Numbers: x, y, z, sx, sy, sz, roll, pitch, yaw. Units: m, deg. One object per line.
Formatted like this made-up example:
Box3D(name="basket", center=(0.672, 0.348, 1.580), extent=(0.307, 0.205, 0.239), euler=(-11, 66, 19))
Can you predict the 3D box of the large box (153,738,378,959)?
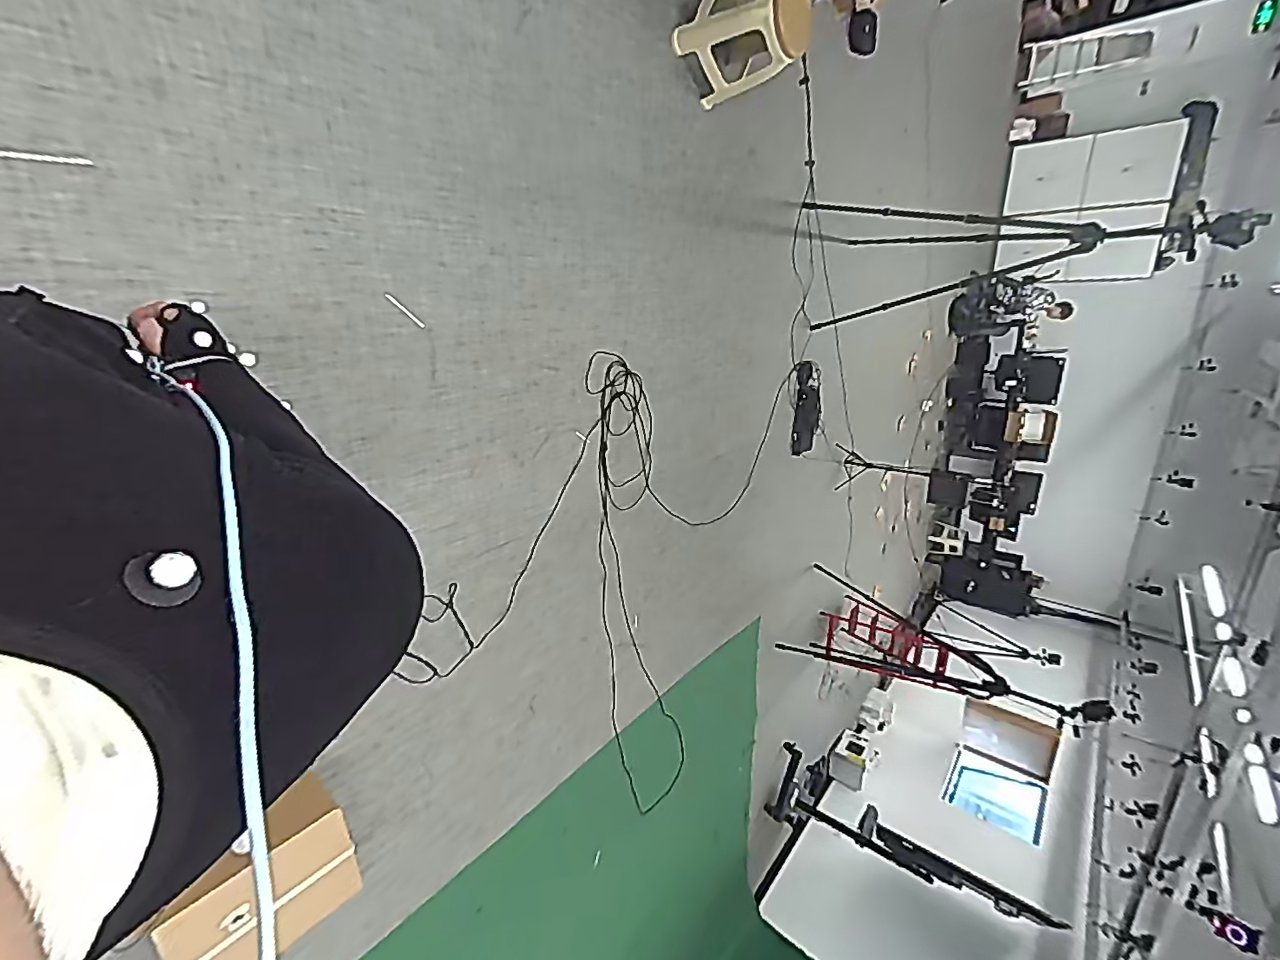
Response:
Box3D(name="large box", center=(-1.016, 1.015, 1.491), extent=(0.408, 0.320, 0.320), euler=(-23, 117, -44))
